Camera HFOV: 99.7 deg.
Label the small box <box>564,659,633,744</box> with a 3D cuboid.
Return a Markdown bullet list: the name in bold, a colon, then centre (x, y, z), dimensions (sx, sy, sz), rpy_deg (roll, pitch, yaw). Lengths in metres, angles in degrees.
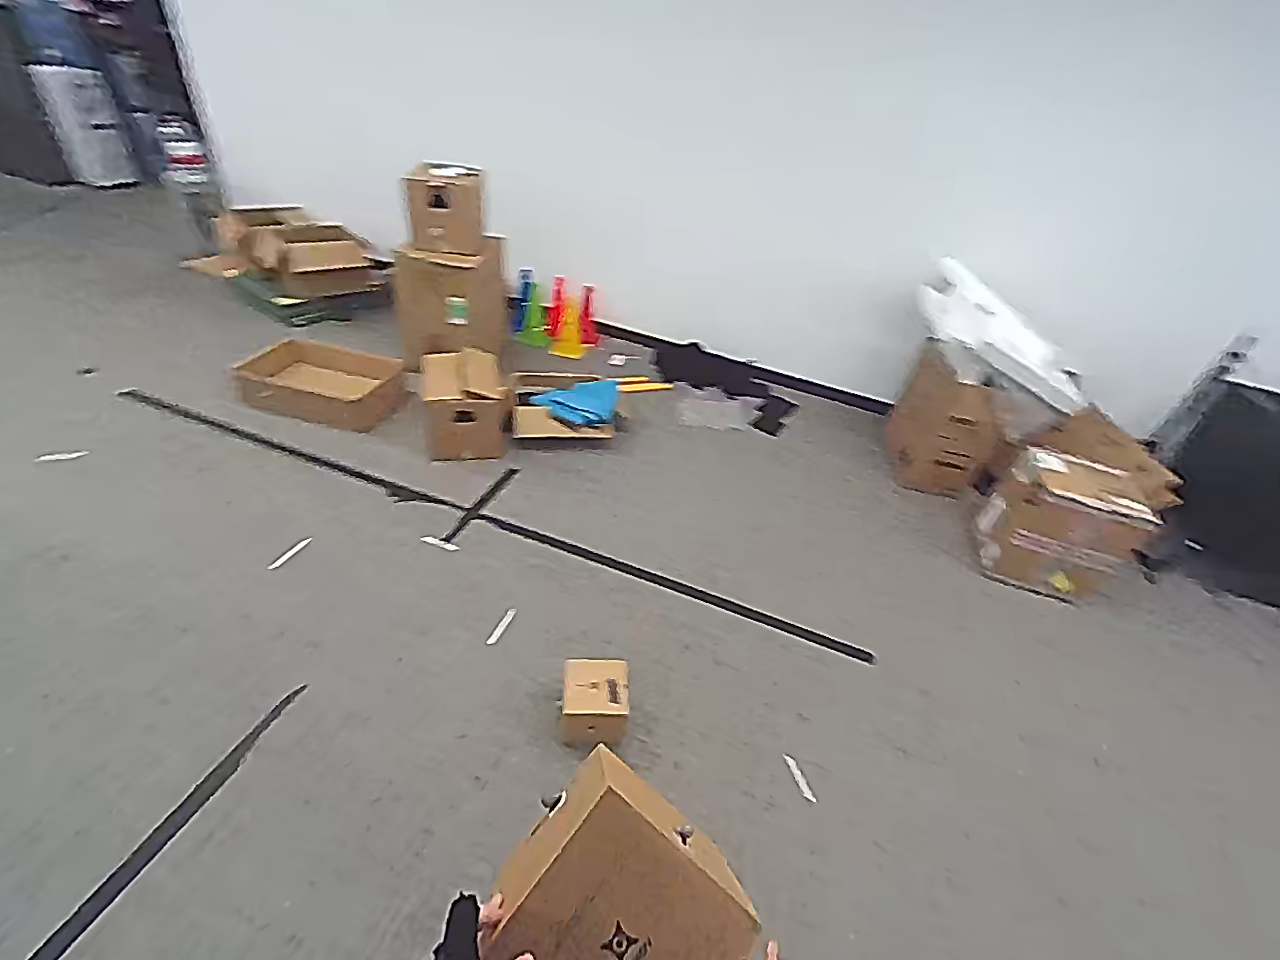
- **small box**: centre (-0.120, 0.634, 1.541), dimensions (0.179, 0.176, 0.168), rpy_deg (4, 38, -7)

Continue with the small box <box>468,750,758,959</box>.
- **small box**: centre (-0.027, 0.382, 0.504), dimensions (0.179, 0.176, 0.168), rpy_deg (37, 71, 5)
